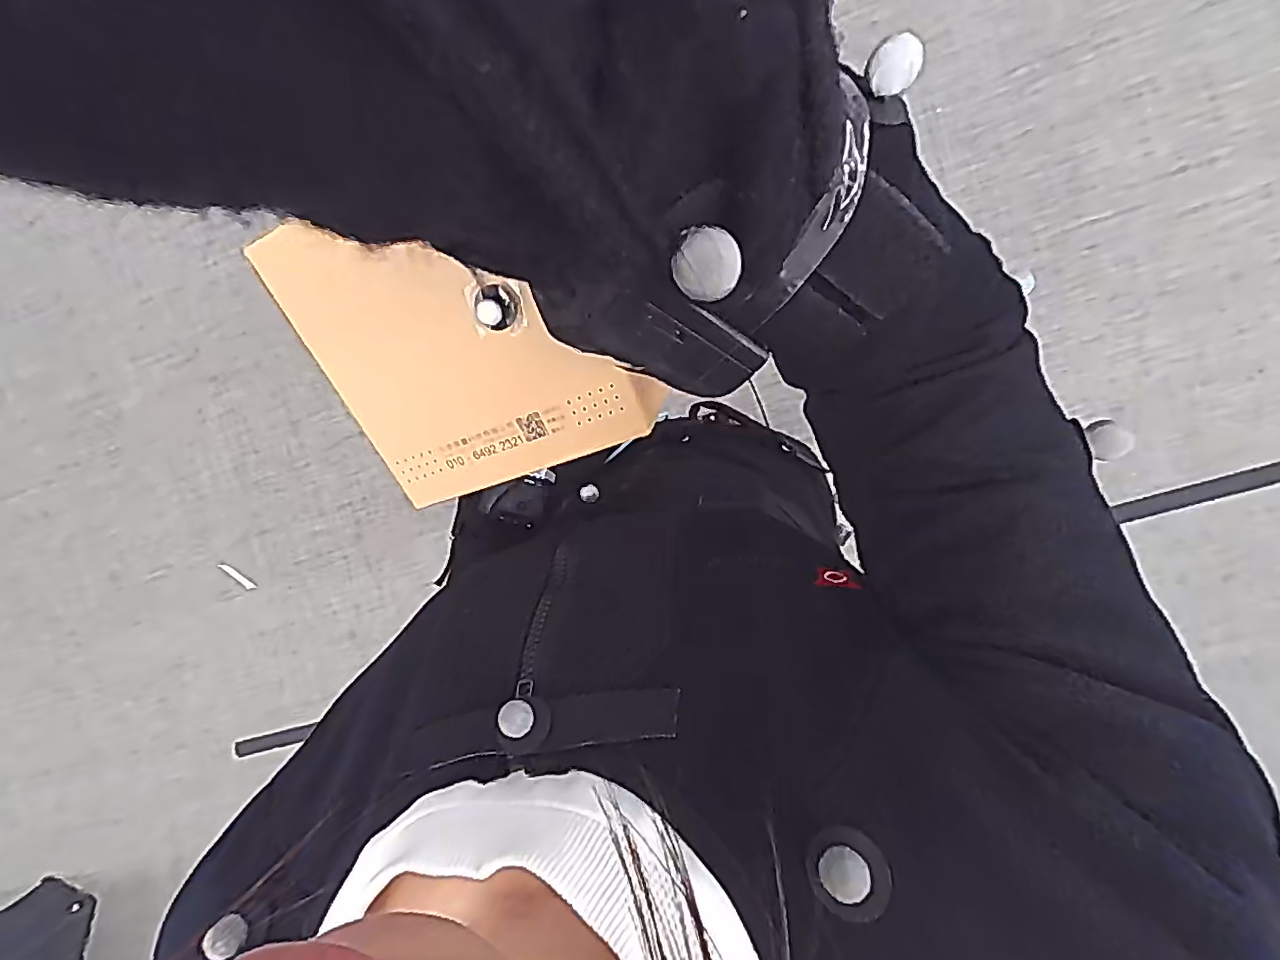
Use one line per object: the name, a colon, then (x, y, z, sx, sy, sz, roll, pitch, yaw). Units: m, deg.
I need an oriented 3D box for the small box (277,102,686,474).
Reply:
small box: (-0.079, -0.118, 0.368, 0.168, 0.179, 0.176, -15, 115, 21)
